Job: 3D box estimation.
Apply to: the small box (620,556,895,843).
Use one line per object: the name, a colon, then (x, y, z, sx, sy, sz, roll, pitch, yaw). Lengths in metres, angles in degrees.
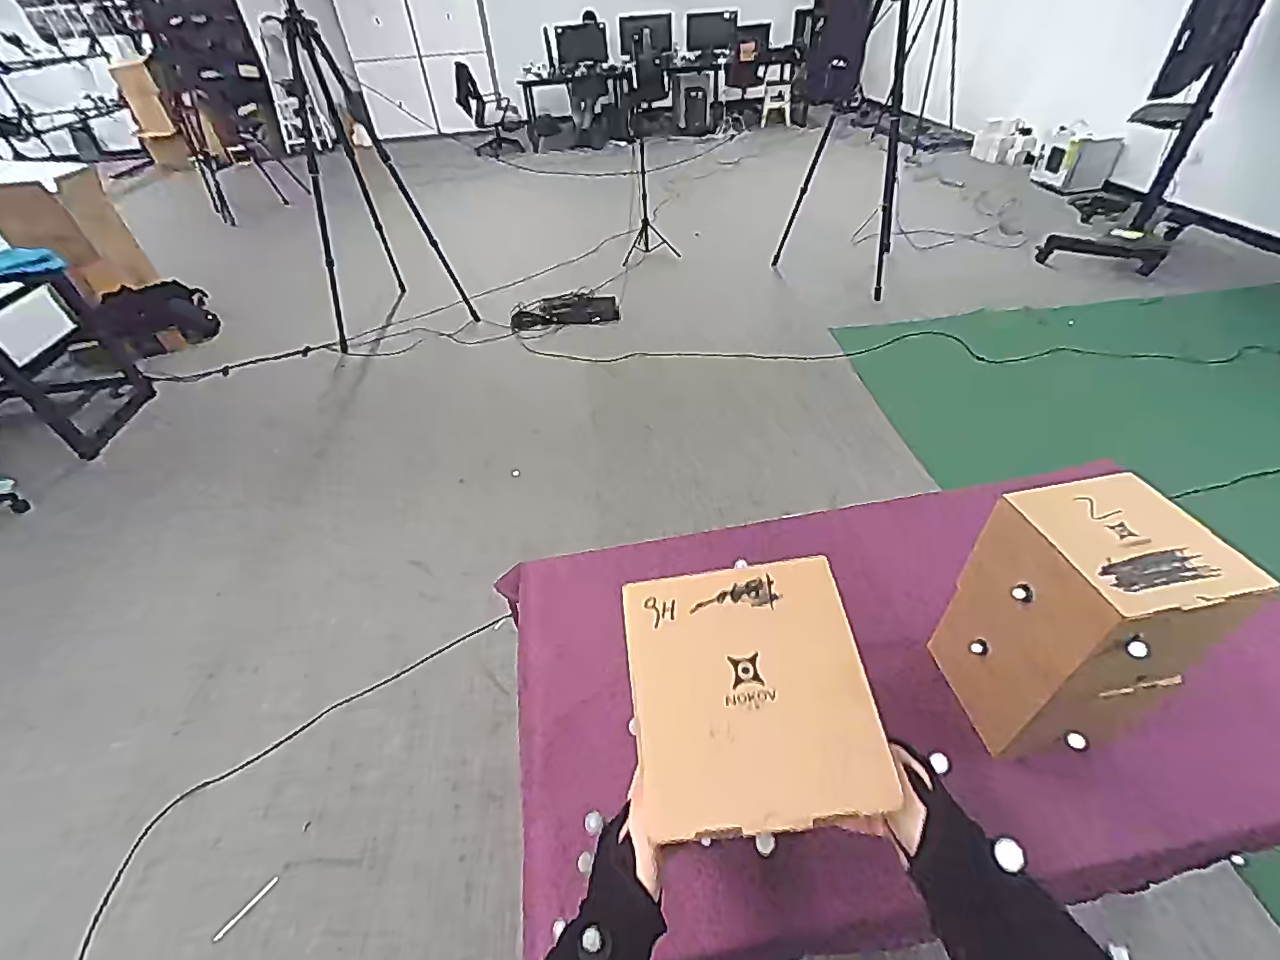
small box: (0.082, 0.185, 0.452, 0.168, 0.176, 0.179, -9, 58, 1)

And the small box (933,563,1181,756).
small box: (0.531, 0.240, 0.726, 0.168, 0.176, 0.179, -8, 42, -2)
